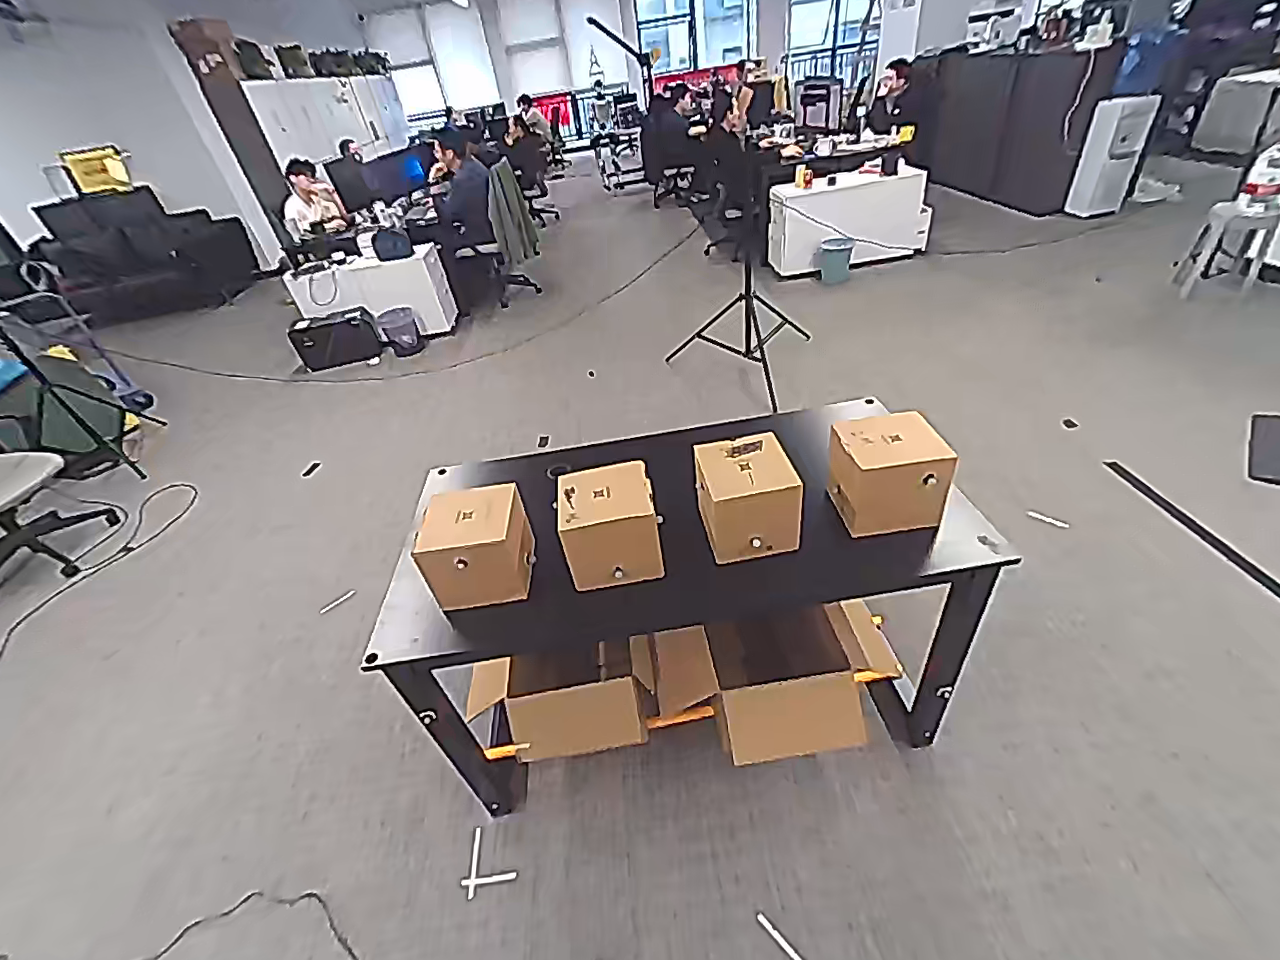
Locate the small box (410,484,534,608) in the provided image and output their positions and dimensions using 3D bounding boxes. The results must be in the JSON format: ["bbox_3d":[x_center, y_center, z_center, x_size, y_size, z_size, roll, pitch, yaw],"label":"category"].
[{"bbox_3d":[-0.319,0.132,1.062,0.179,0.176,0.168,-8,39,0],"label":"small box"}]

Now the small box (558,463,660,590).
[{"bbox_3d":[-0.058,0.092,1.059,0.179,0.176,0.168,-10,37,-1],"label":"small box"}]

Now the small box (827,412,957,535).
[{"bbox_3d":[0.484,-0.011,1.069,0.179,0.176,0.168,-9,36,2],"label":"small box"}]

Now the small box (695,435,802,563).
[{"bbox_3d":[0.208,0.036,1.071,0.168,0.176,0.179,-11,38,-1],"label":"small box"}]
